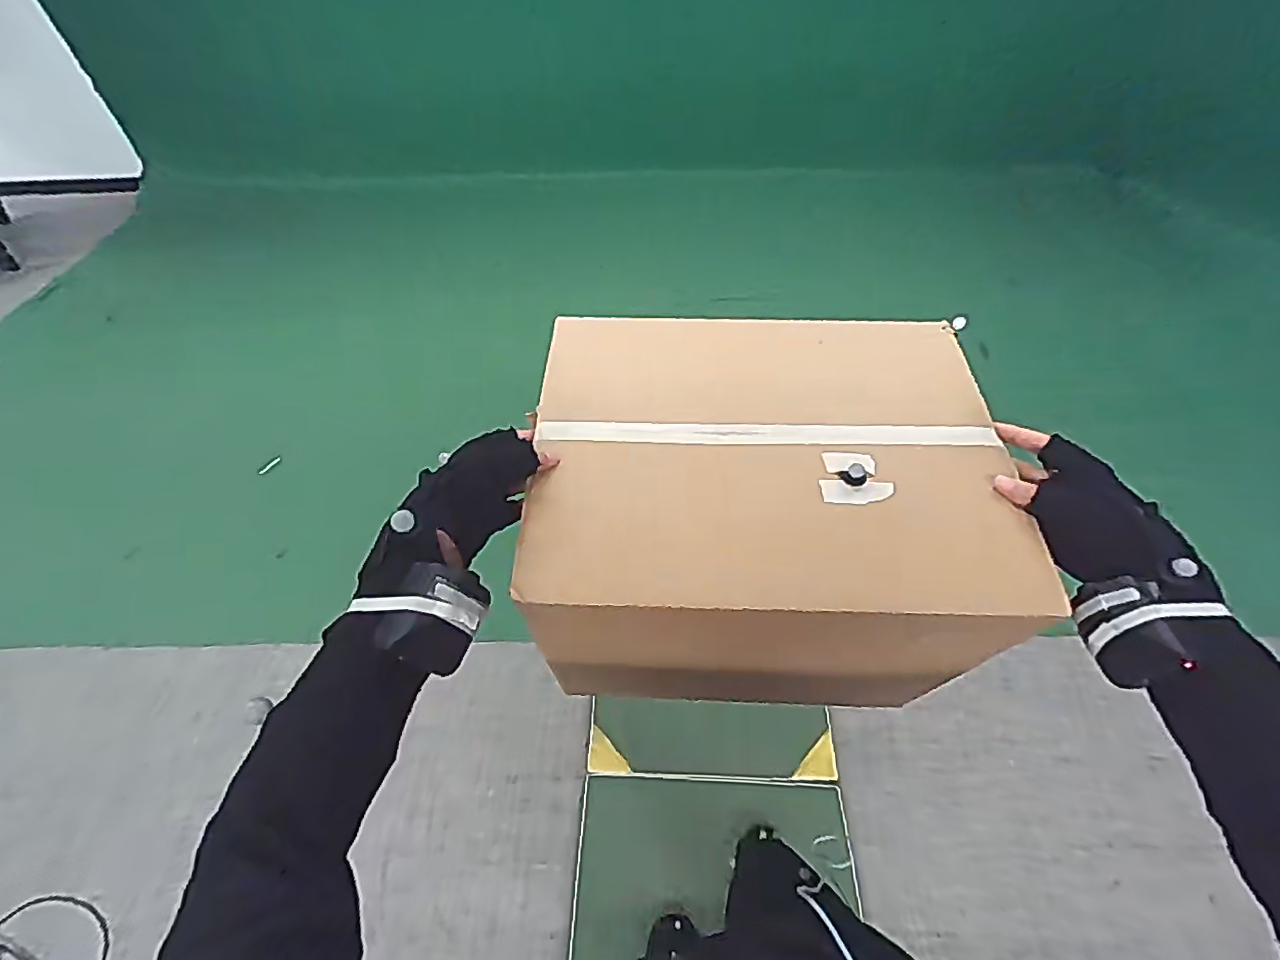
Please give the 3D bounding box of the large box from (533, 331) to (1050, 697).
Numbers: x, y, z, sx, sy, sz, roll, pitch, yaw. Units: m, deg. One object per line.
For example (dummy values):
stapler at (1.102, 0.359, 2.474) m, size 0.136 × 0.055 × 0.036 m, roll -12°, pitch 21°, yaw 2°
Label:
large box at (0.115, 0.051, 0.615) m, size 0.408 × 0.320 × 0.320 m, roll 1°, pitch 57°, yaw 1°
